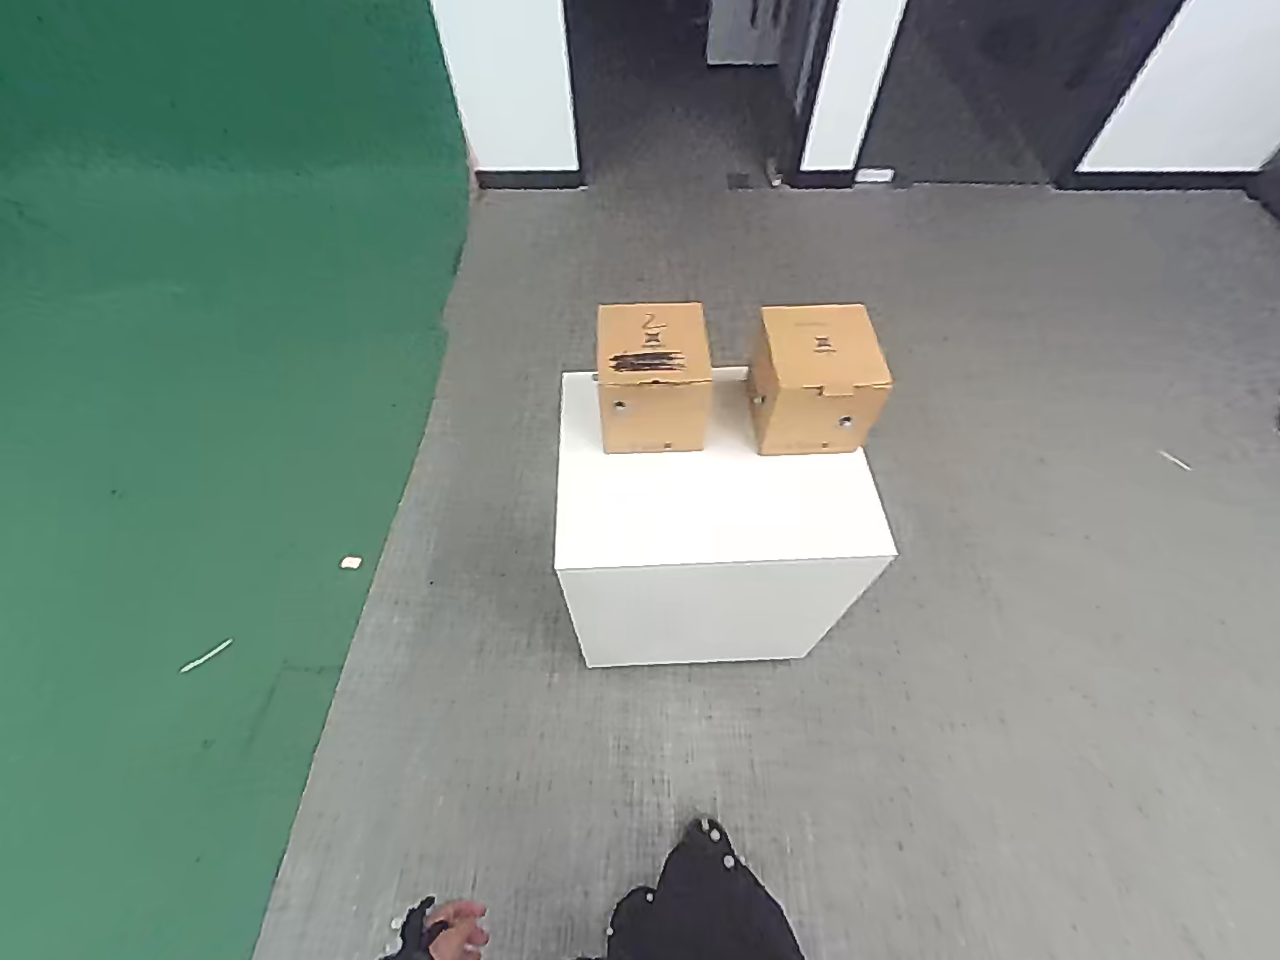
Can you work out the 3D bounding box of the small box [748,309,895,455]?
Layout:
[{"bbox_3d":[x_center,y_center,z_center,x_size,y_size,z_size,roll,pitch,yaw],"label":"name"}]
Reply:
[{"bbox_3d":[0.279,-0.151,0.875,0.168,0.176,0.179,-1,56,-1],"label":"small box"}]
